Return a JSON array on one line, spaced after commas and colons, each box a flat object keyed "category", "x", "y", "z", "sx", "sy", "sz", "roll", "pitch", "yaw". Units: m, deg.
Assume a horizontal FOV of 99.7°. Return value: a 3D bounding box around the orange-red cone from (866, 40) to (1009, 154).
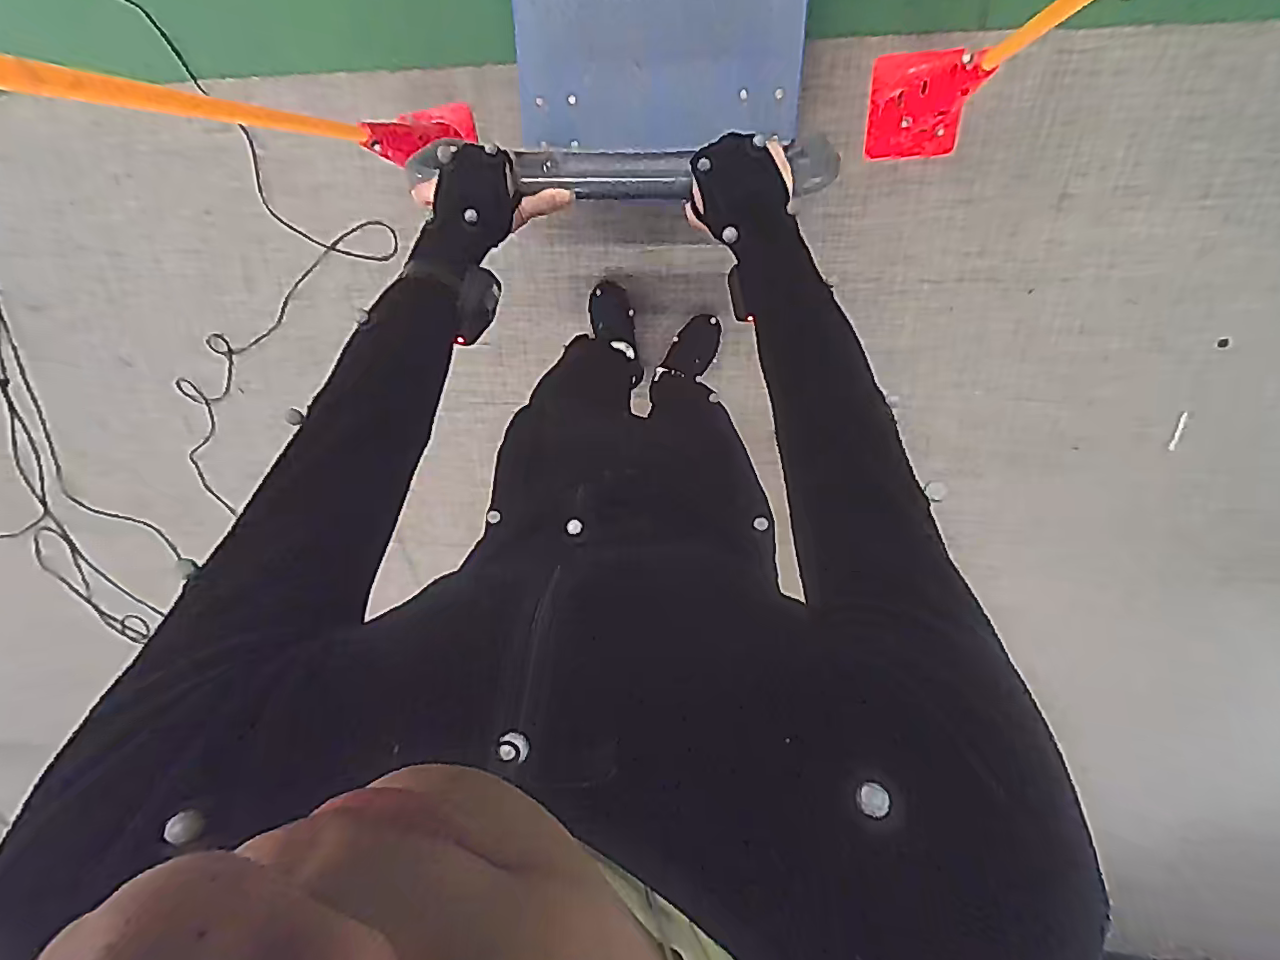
[{"category": "orange-red cone", "x": 0.588, "y": -0.758, "z": 1.026, "sx": 0.198, "sy": 0.360, "sz": 0.199, "roll": 1, "pitch": 114, "yaw": 5}]
